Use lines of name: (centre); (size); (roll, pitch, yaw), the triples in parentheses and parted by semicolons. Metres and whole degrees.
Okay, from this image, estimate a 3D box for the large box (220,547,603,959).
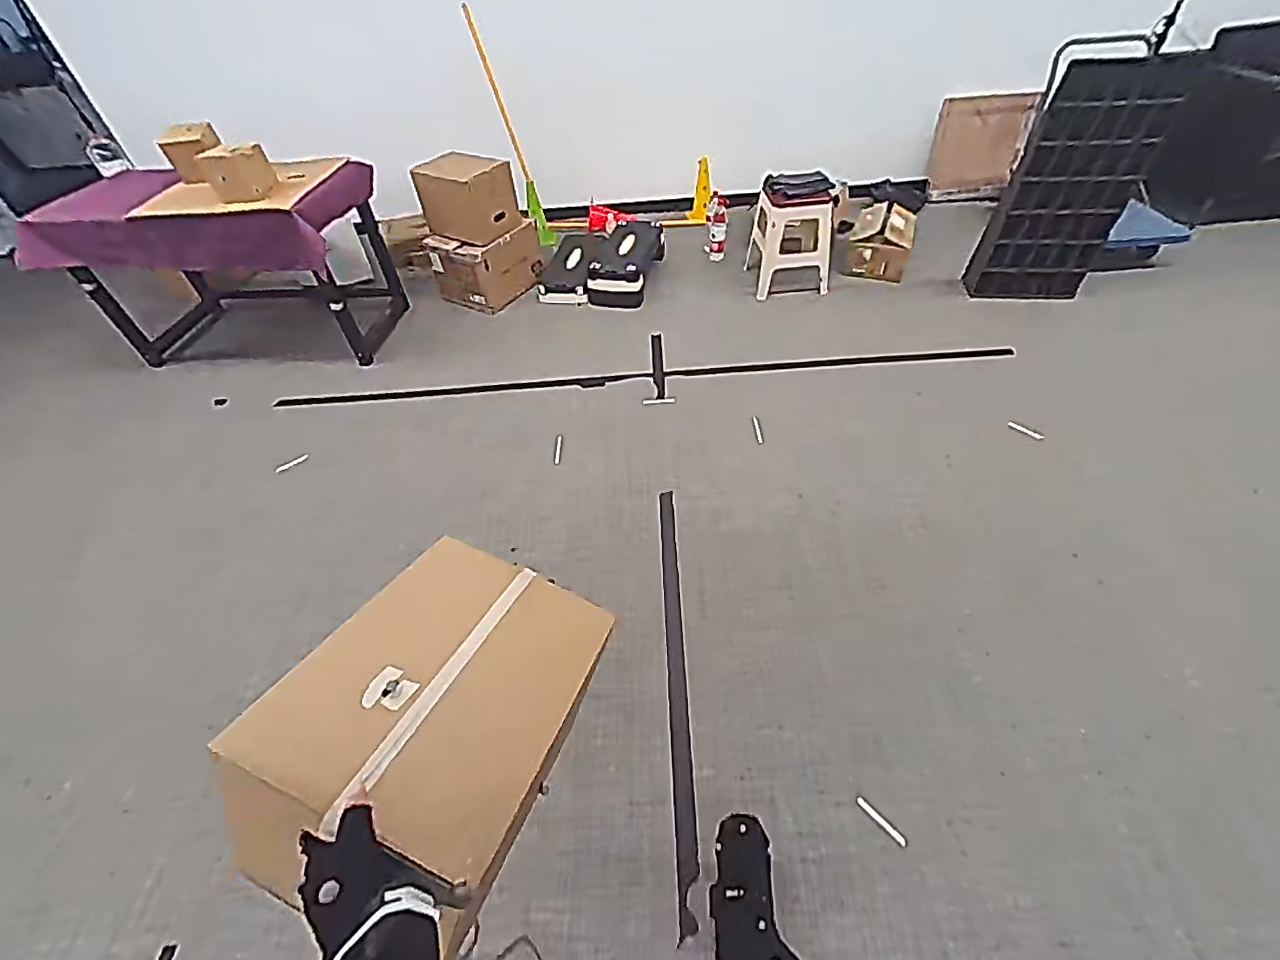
large box: (-0.292, 0.379, 0.796); (0.320, 0.320, 0.408); (23, 33, 6)
